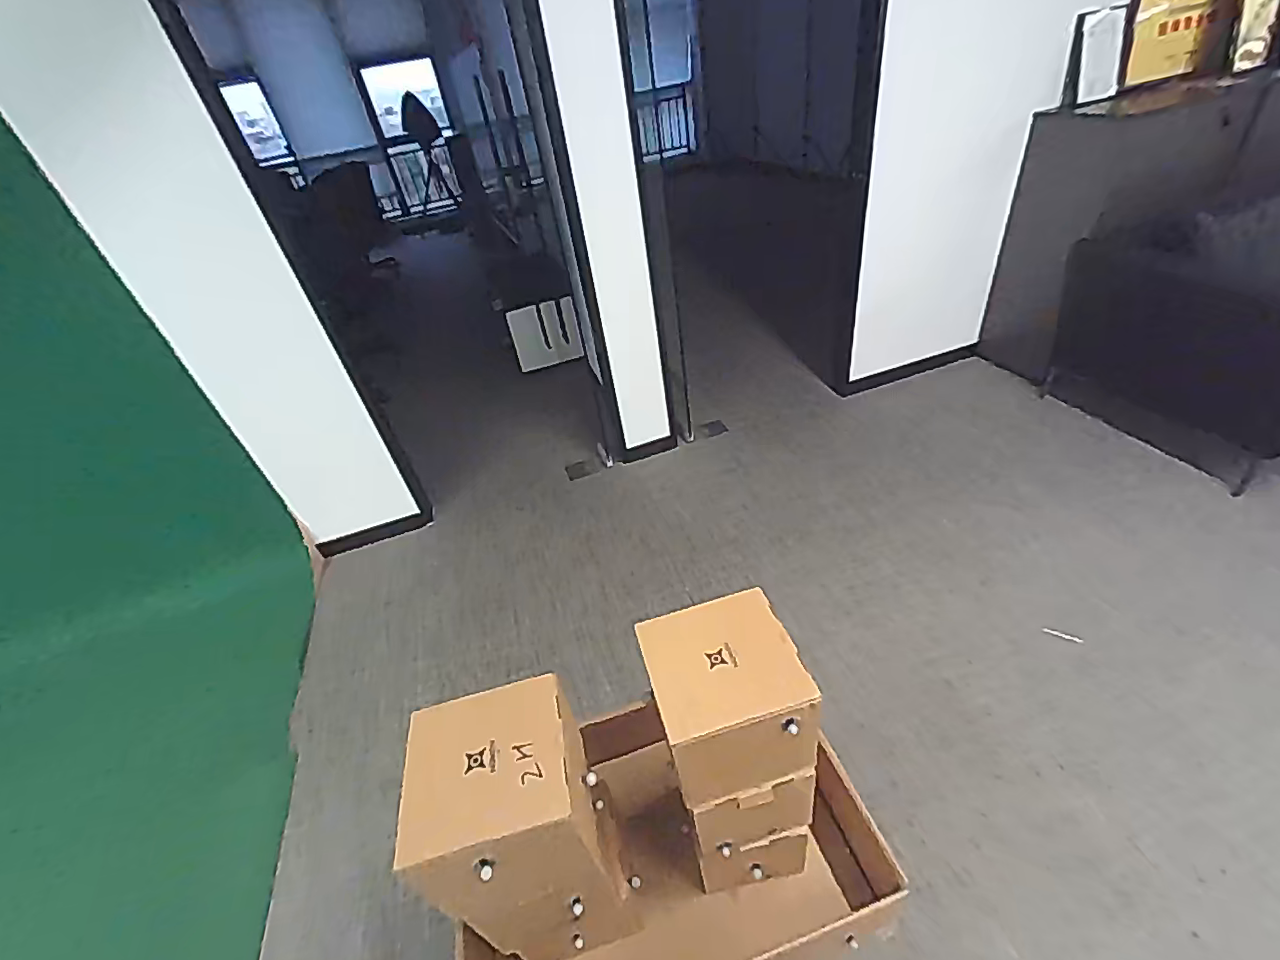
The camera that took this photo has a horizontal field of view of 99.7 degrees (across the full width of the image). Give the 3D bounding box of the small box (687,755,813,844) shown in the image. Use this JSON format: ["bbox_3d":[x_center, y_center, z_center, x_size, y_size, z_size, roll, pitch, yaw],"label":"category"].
[{"bbox_3d":[0.138,0.397,0.787,0.168,0.176,0.179,-16,37,-5],"label":"small box"}]

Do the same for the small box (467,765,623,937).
[{"bbox_3d":[-0.130,0.489,0.742,0.168,0.176,0.179,-16,38,-7],"label":"small box"}]

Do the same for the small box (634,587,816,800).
[{"bbox_3d":[0.106,0.271,0.688,0.179,0.176,0.168,-16,38,-6],"label":"small box"}]

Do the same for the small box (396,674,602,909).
[{"bbox_3d":[-0.155,0.366,0.635,0.179,0.176,0.168,-14,38,-5],"label":"small box"}]
